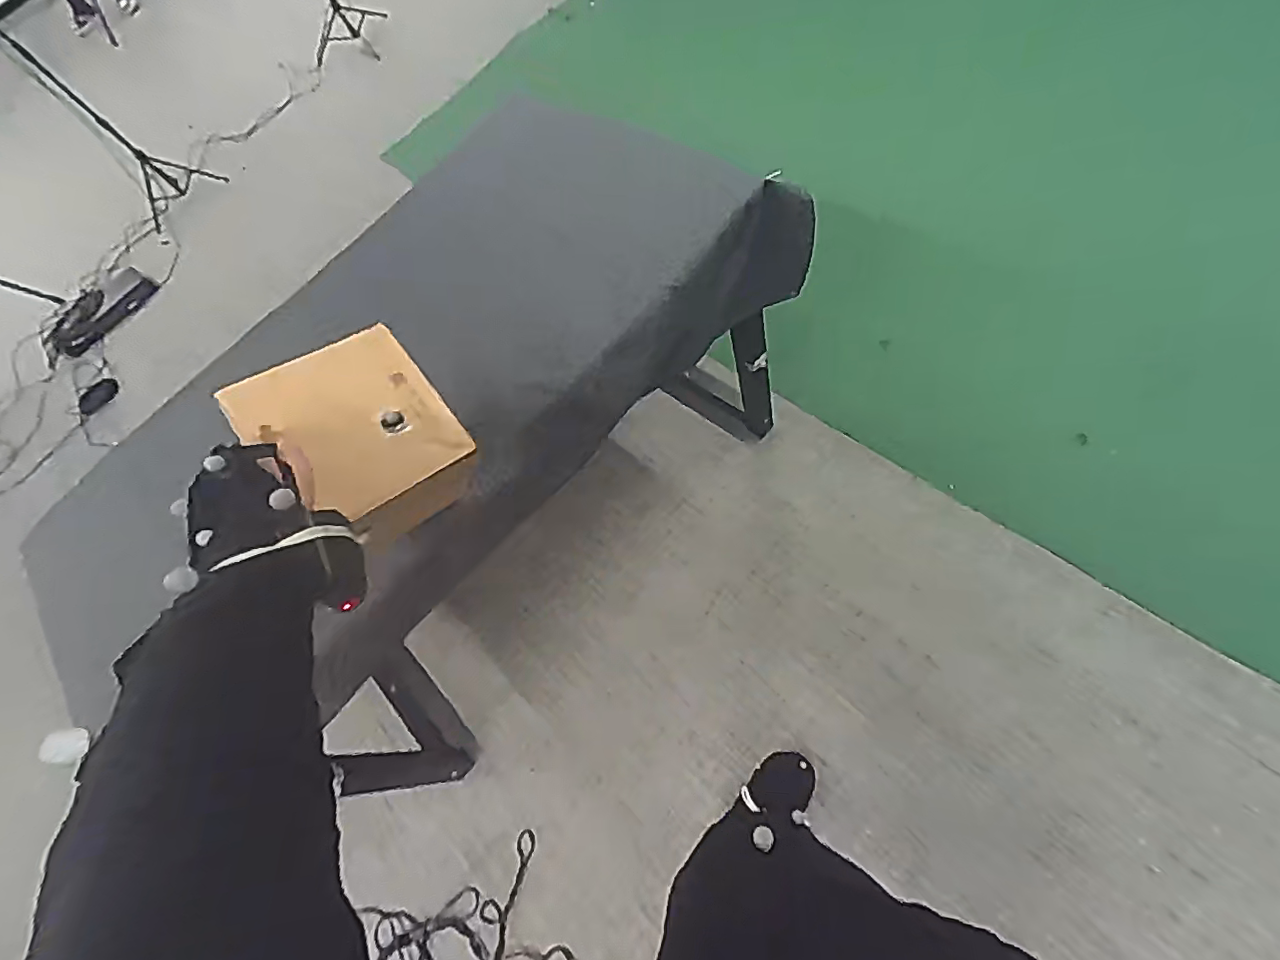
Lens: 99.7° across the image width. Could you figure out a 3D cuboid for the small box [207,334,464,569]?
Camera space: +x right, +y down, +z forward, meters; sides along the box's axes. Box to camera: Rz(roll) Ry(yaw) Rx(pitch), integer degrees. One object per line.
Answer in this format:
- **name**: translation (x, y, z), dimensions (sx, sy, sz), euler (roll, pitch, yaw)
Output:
- **small box**: translation (-0.314, -0.027, 0.591), dimensions (0.176, 0.179, 0.168), euler (-35, 90, -31)
